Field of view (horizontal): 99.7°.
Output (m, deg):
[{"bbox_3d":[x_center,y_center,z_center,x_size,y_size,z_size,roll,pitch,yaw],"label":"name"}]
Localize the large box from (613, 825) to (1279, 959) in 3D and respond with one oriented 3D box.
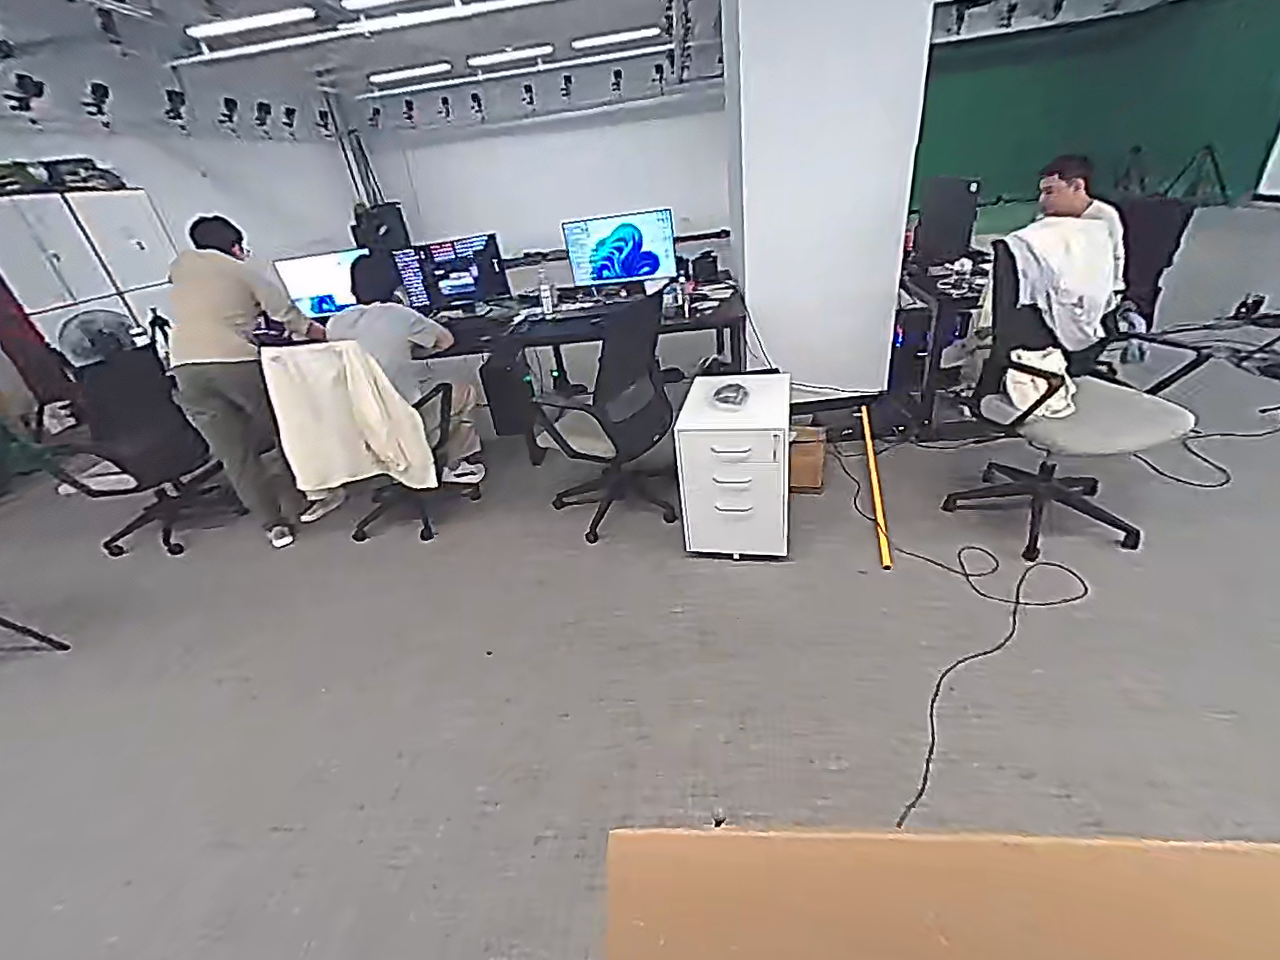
[{"bbox_3d":[0.211,0.435,0.385,0.408,0.320,0.320,-8,57,13],"label":"large box"}]
